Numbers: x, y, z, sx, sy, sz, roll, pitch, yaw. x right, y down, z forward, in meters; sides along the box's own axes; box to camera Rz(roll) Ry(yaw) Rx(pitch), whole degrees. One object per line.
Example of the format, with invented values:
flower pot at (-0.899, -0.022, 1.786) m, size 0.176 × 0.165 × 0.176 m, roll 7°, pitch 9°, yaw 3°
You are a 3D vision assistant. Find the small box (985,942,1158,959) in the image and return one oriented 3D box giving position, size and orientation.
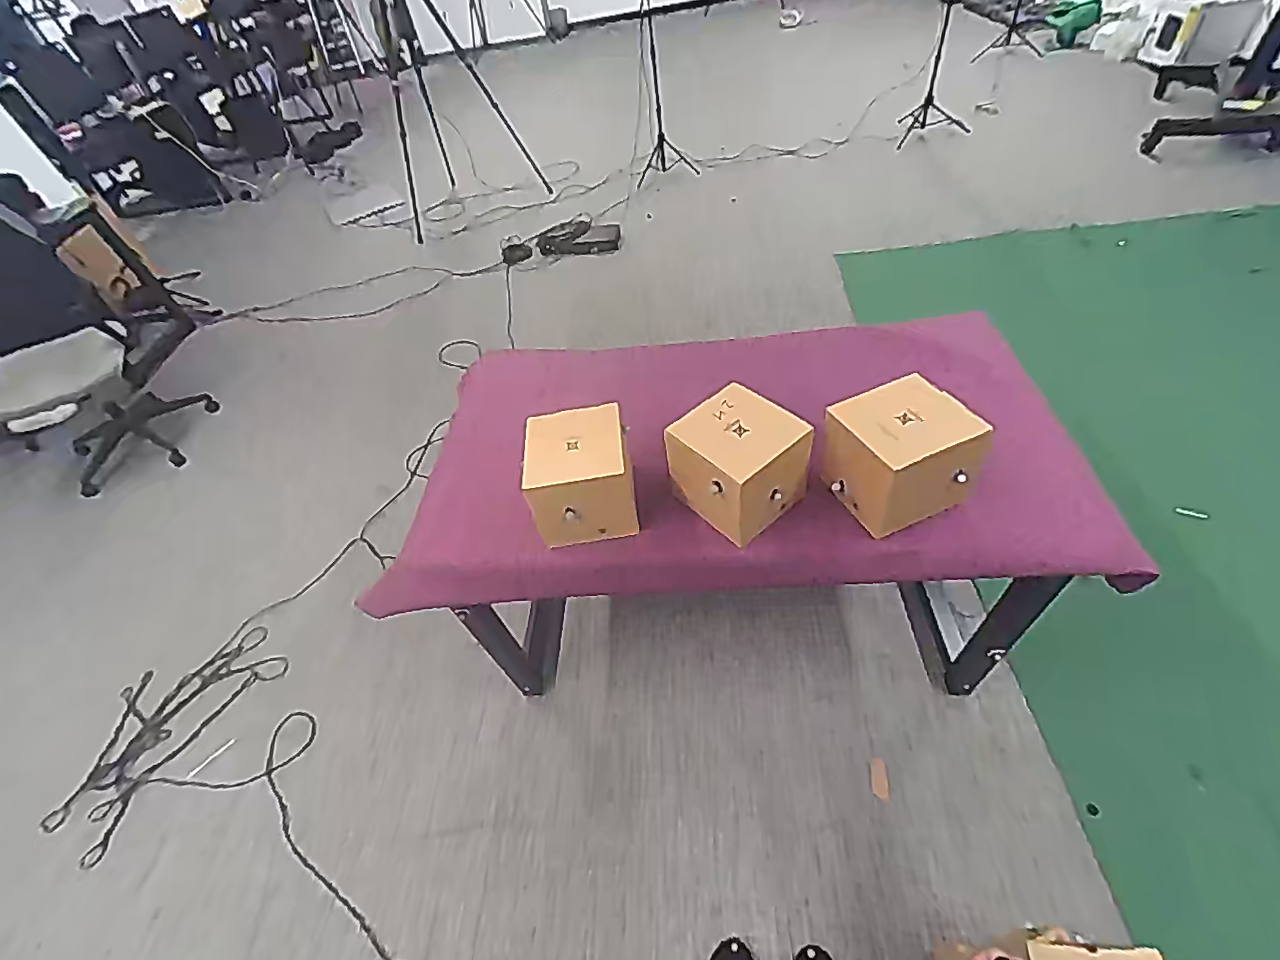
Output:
small box at (0.595, 0.736, 0.718) m, size 0.168 × 0.176 × 0.179 m, roll -2°, pitch 50°, yaw 8°

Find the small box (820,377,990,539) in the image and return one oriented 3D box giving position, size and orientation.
small box at (0.419, -0.034, 0.890) m, size 0.179 × 0.176 × 0.168 m, roll -21°, pitch 46°, yaw -8°

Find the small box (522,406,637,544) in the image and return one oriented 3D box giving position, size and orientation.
small box at (-0.101, -0.002, 0.955) m, size 0.168 × 0.176 × 0.179 m, roll -9°, pitch 46°, yaw 2°

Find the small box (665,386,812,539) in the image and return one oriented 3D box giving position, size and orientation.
small box at (0.165, -0.023, 0.924) m, size 0.168 × 0.176 × 0.179 m, roll -34°, pitch 52°, yaw -20°

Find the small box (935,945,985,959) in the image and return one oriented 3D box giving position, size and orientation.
small box at (0.639, 0.956, 0.959) m, size 0.179 × 0.176 × 0.168 m, roll 4°, pitch 50°, yaw 14°
